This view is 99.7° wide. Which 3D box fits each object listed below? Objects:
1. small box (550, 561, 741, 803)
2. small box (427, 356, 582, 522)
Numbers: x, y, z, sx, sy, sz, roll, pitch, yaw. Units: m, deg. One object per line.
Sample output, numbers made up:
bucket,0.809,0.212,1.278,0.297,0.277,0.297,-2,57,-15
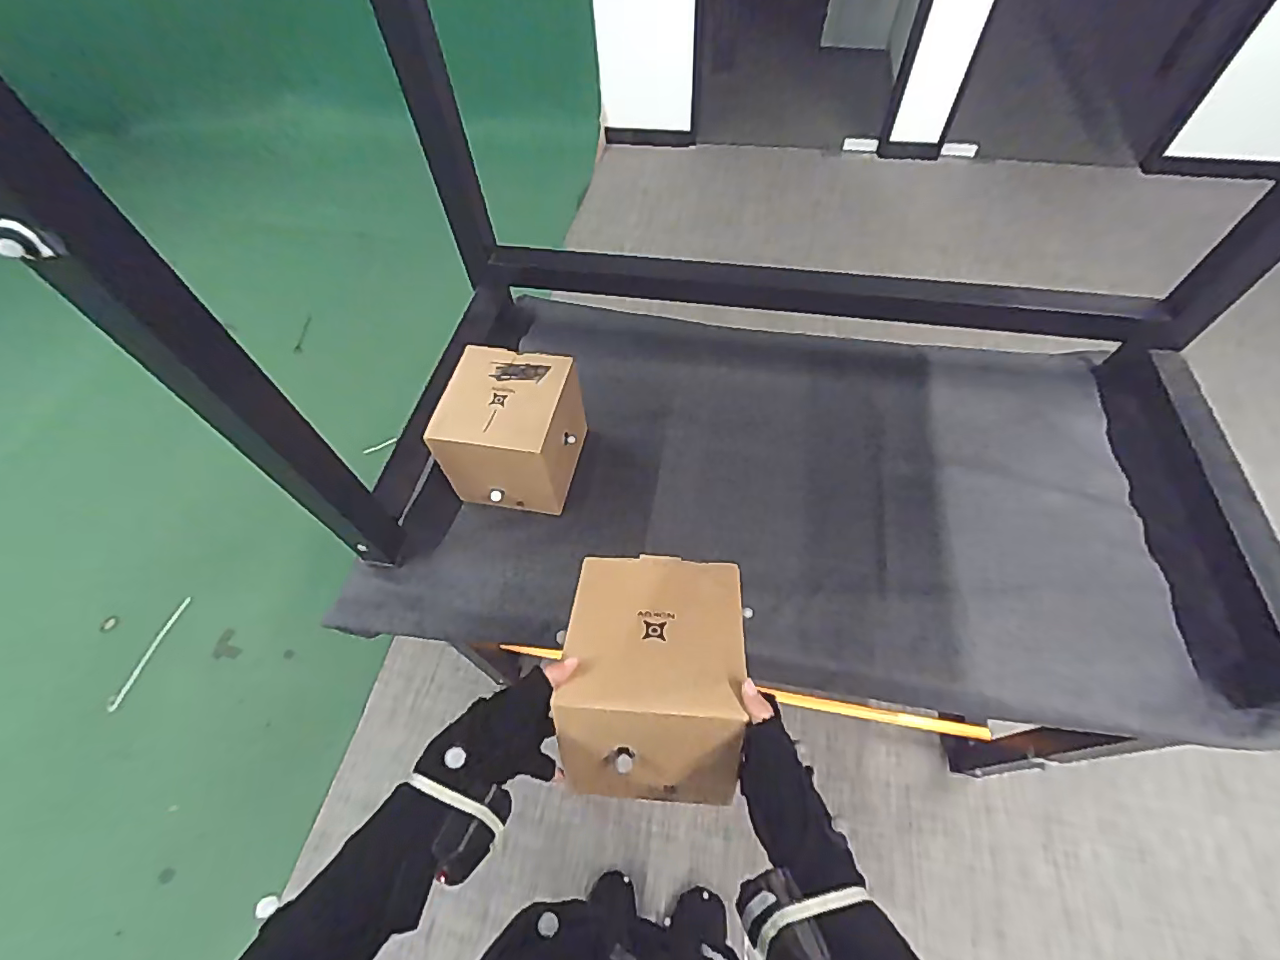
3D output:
small box,0.013,0.207,0.563,0.168,0.176,0.179,2,36,4
small box,-0.190,-0.061,0.825,0.168,0.176,0.179,8,57,7
